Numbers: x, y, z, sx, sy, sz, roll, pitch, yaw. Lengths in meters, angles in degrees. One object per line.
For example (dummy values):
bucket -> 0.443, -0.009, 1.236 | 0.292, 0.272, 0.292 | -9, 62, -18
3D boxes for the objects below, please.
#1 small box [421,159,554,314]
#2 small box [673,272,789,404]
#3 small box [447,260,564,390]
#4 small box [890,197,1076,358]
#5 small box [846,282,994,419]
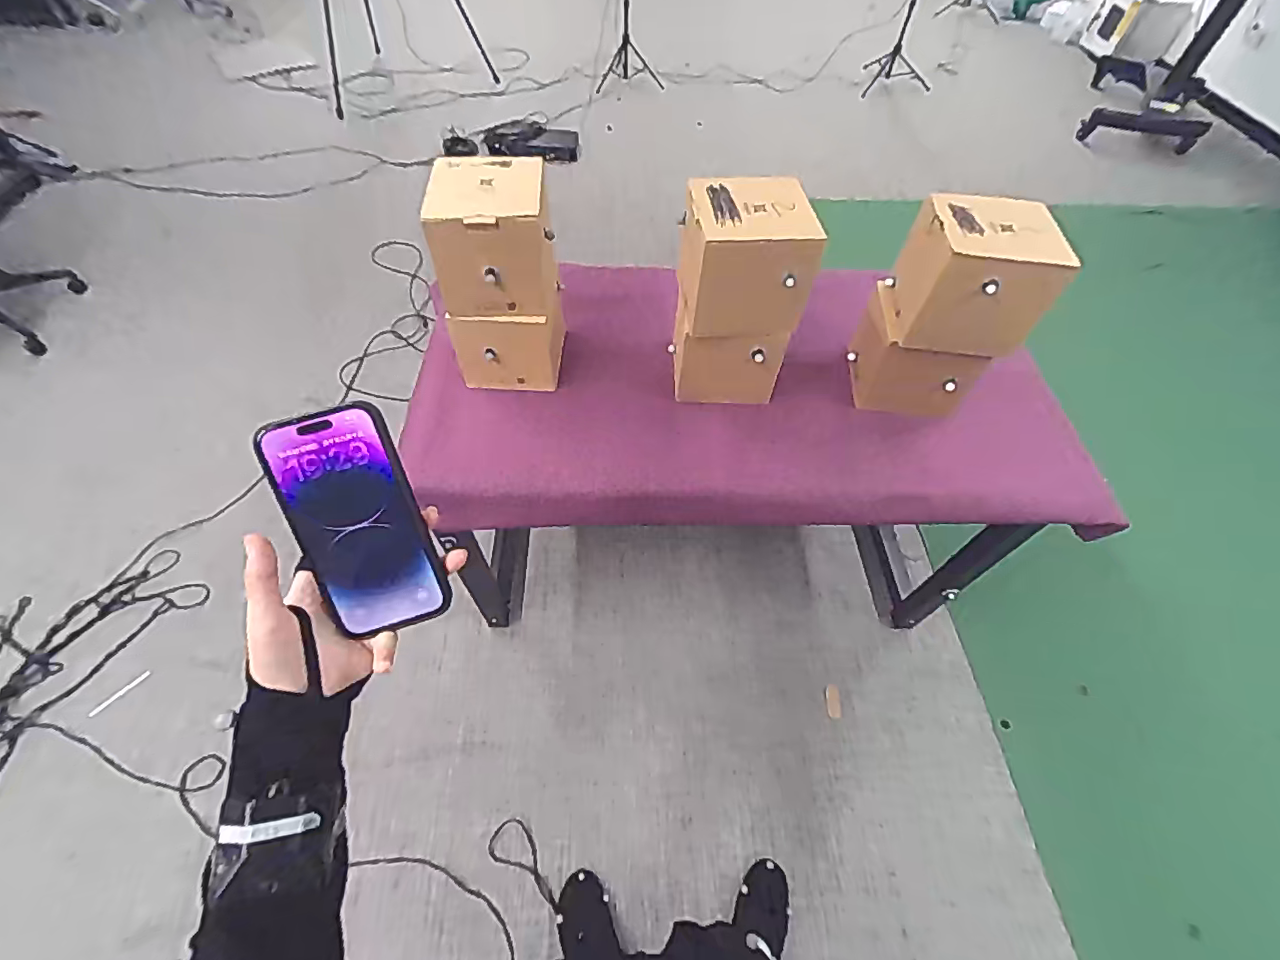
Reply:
small box -> -0.229, -0.382, 0.862 | 0.168, 0.176, 0.179 | -2, 56, -4
small box -> 0.156, -0.253, 0.985 | 0.179, 0.176, 0.168 | 2, 55, -1
small box -> -0.234, -0.282, 0.993 | 0.168, 0.176, 0.179 | 2, 56, 0
small box -> 0.509, -0.309, 0.840 | 0.179, 0.176, 0.168 | 7, 55, 2
small box -> 0.495, -0.230, 0.983 | 0.179, 0.176, 0.168 | 7, 55, 3
